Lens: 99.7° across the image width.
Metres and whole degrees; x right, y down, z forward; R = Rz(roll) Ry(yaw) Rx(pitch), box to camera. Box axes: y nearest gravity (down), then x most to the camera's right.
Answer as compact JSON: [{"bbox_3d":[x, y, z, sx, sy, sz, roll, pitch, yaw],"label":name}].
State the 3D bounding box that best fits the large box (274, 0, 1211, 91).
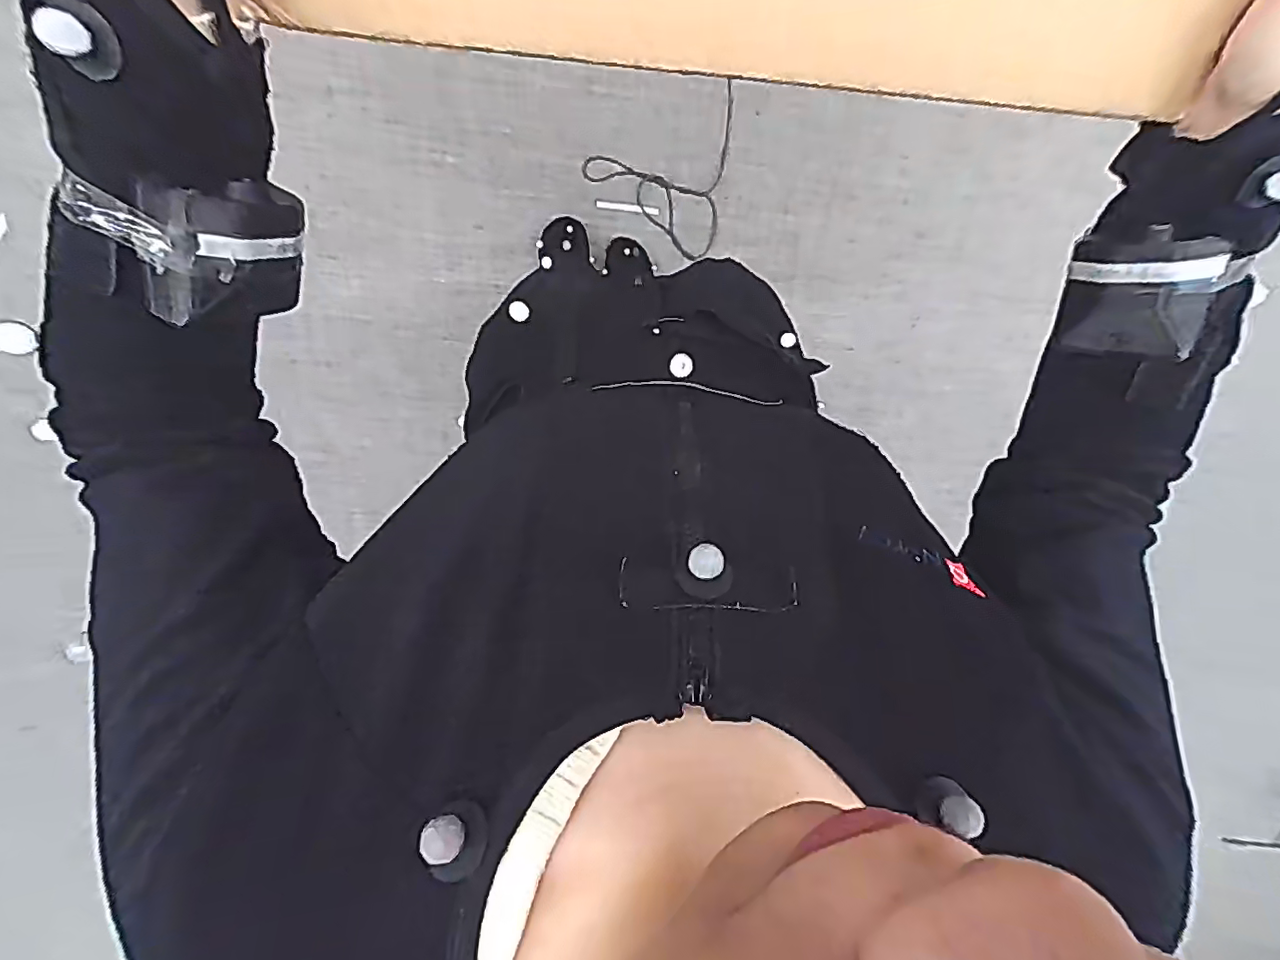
[{"bbox_3d":[0.048,-0.398,0.244,0.408,0.320,0.320,1,133,-6],"label":"large box"}]
